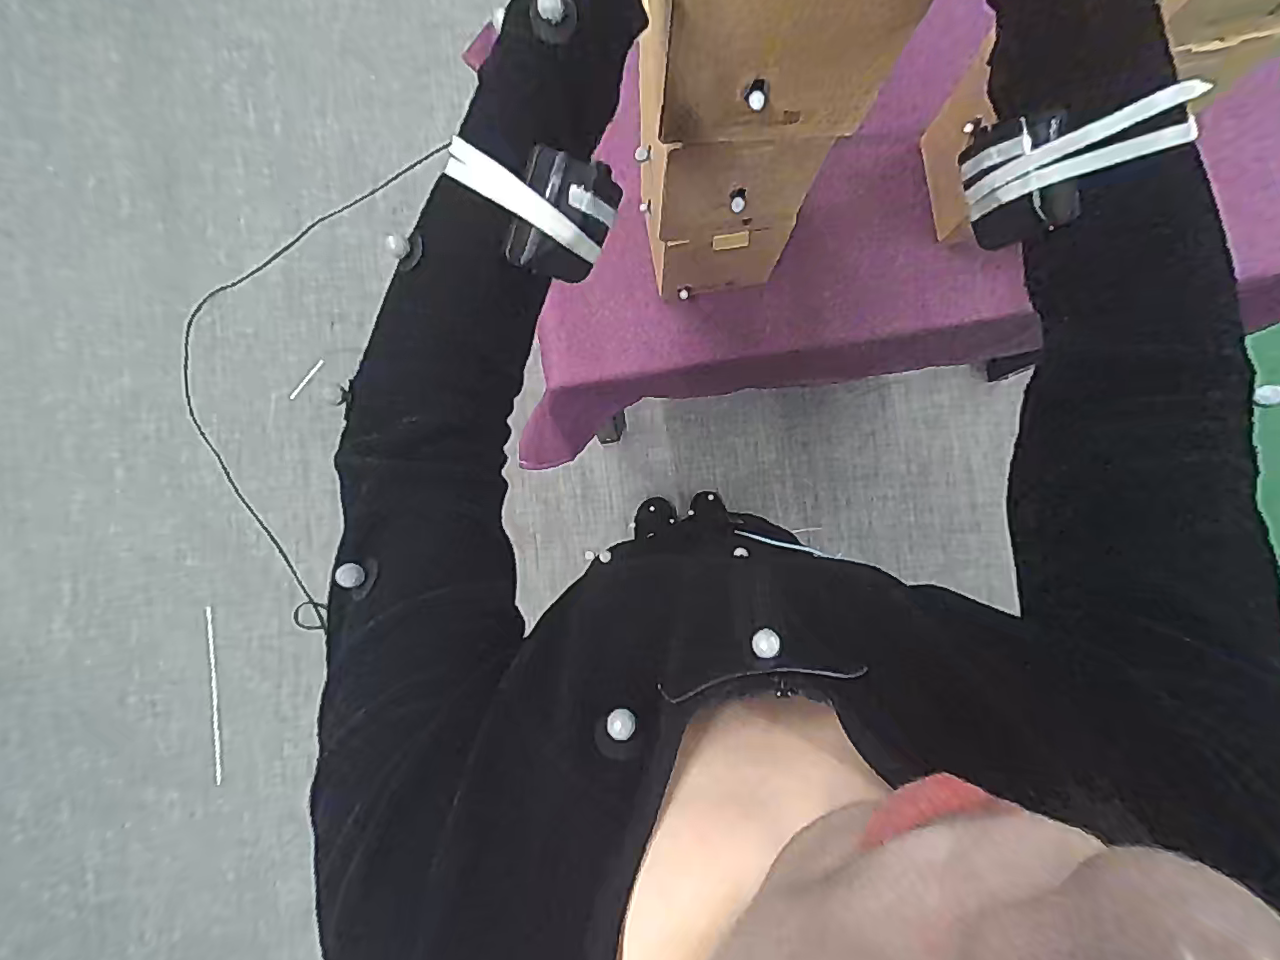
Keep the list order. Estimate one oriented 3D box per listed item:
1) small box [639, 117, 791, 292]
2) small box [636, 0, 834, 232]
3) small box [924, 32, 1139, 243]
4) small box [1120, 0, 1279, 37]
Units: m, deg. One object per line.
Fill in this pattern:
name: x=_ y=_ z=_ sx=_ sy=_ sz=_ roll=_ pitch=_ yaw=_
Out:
small box: x=0.094 y=-0.376 z=0.745 sx=0.168 sy=0.176 sz=0.179 roll=-10 pitch=85 yaw=-1
small box: x=0.089 y=-0.389 z=0.581 sx=0.168 sy=0.176 sz=0.179 roll=-8 pitch=86 yaw=-1
small box: x=0.519 y=-0.458 z=0.746 sx=0.168 sy=0.176 sz=0.179 roll=-7 pitch=86 yaw=1
small box: x=0.513 y=-0.491 z=0.420 sx=0.168 sy=0.176 sz=0.179 roll=-10 pitch=85 yaw=-1
